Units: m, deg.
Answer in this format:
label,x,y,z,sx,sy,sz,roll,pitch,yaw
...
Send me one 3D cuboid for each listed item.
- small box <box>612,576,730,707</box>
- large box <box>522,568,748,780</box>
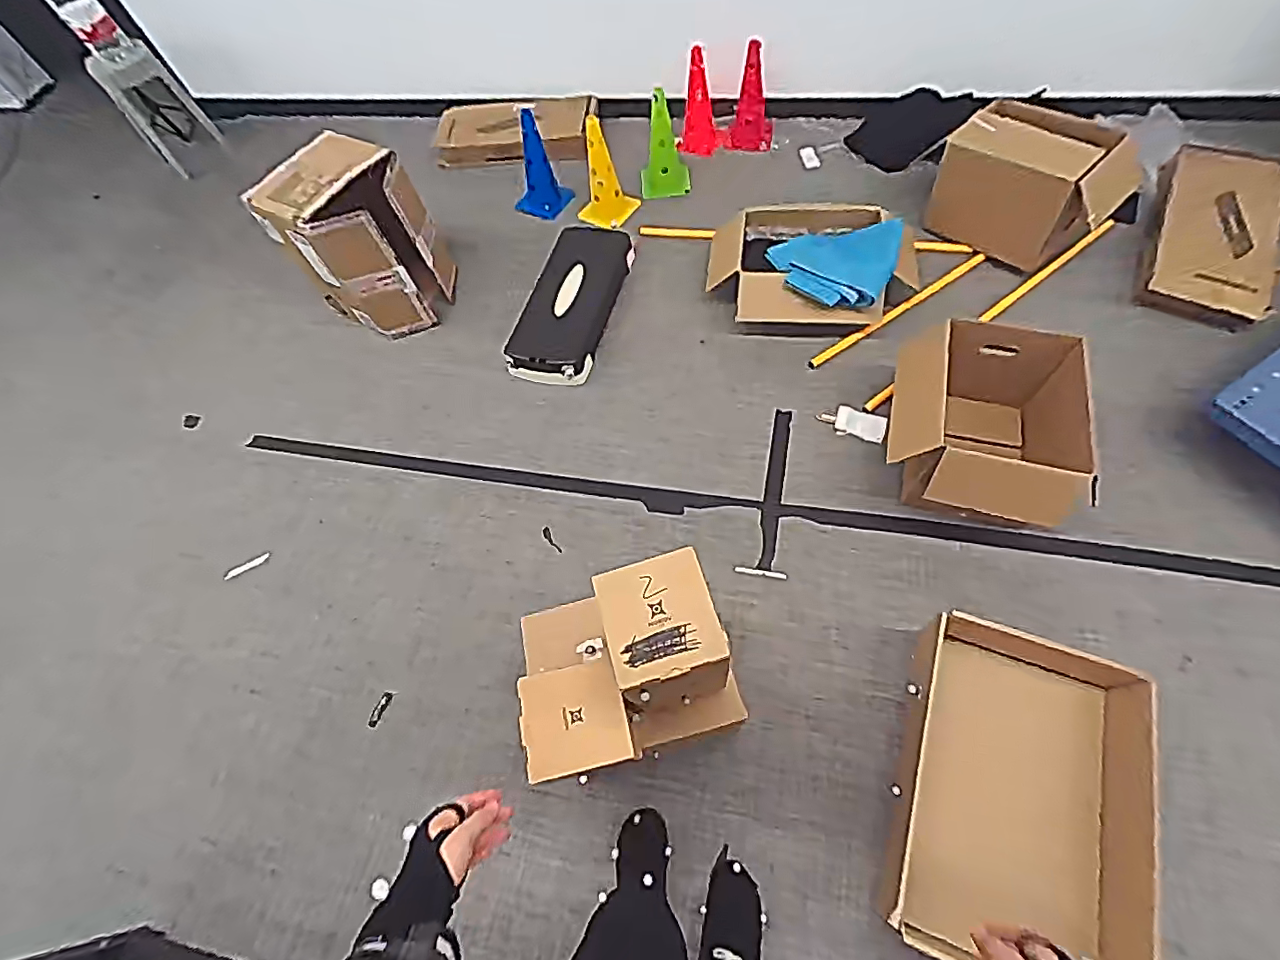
label,x,y,z,sx,sy,sz,roll,pitch,yaw
small box,0.057,0.304,1.000,0.168,0.176,0.179,-18,62,-1
large box,-0.005,0.441,1.215,0.408,0.320,0.320,-17,61,-1
